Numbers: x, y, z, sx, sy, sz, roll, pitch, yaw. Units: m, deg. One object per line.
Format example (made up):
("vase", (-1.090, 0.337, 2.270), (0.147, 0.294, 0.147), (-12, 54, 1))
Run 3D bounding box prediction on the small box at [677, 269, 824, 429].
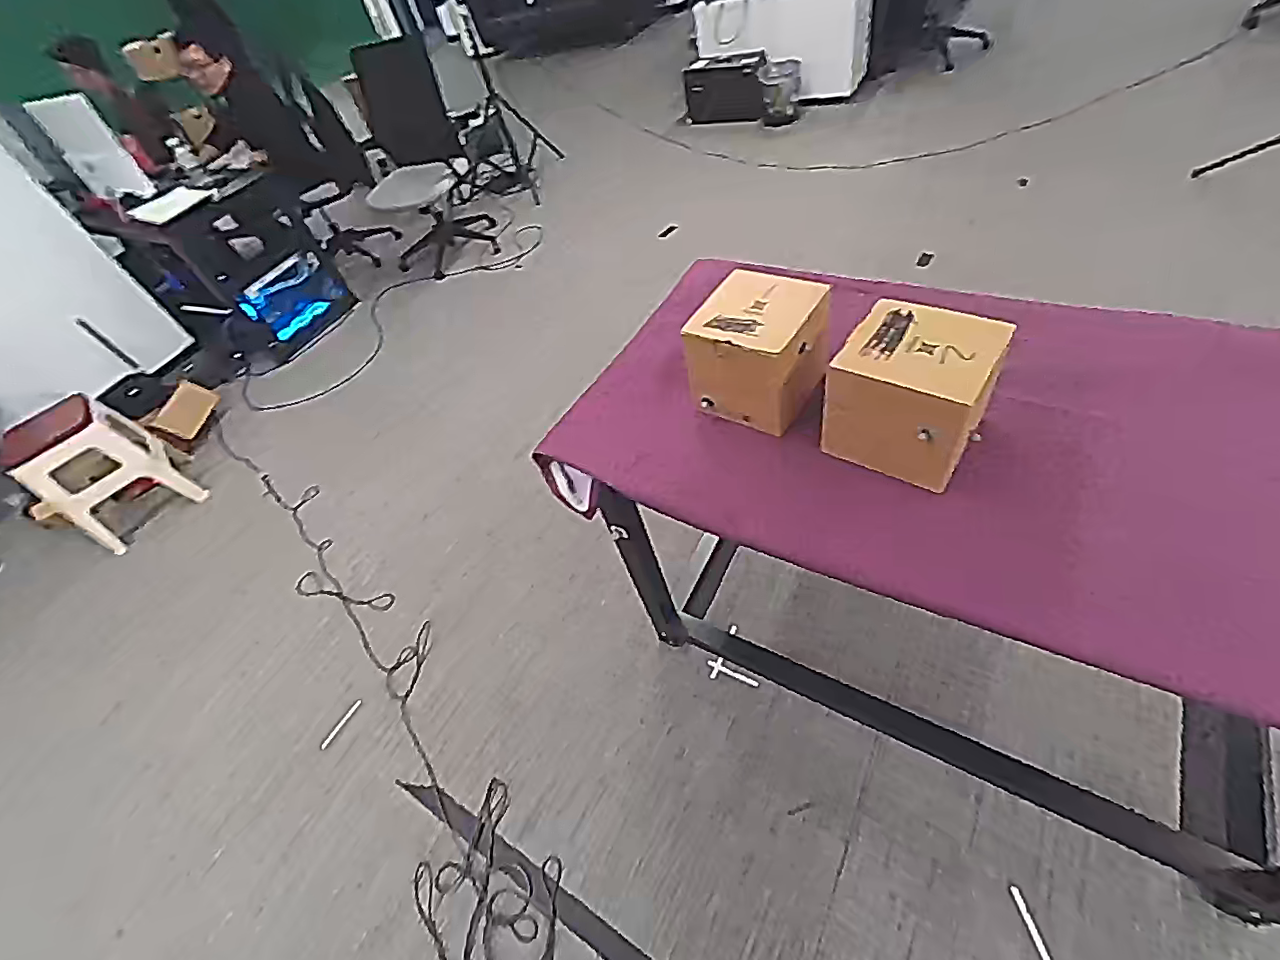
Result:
("small box", (0.184, -0.211, 0.879), (0.168, 0.176, 0.179), (23, 61, 30))
